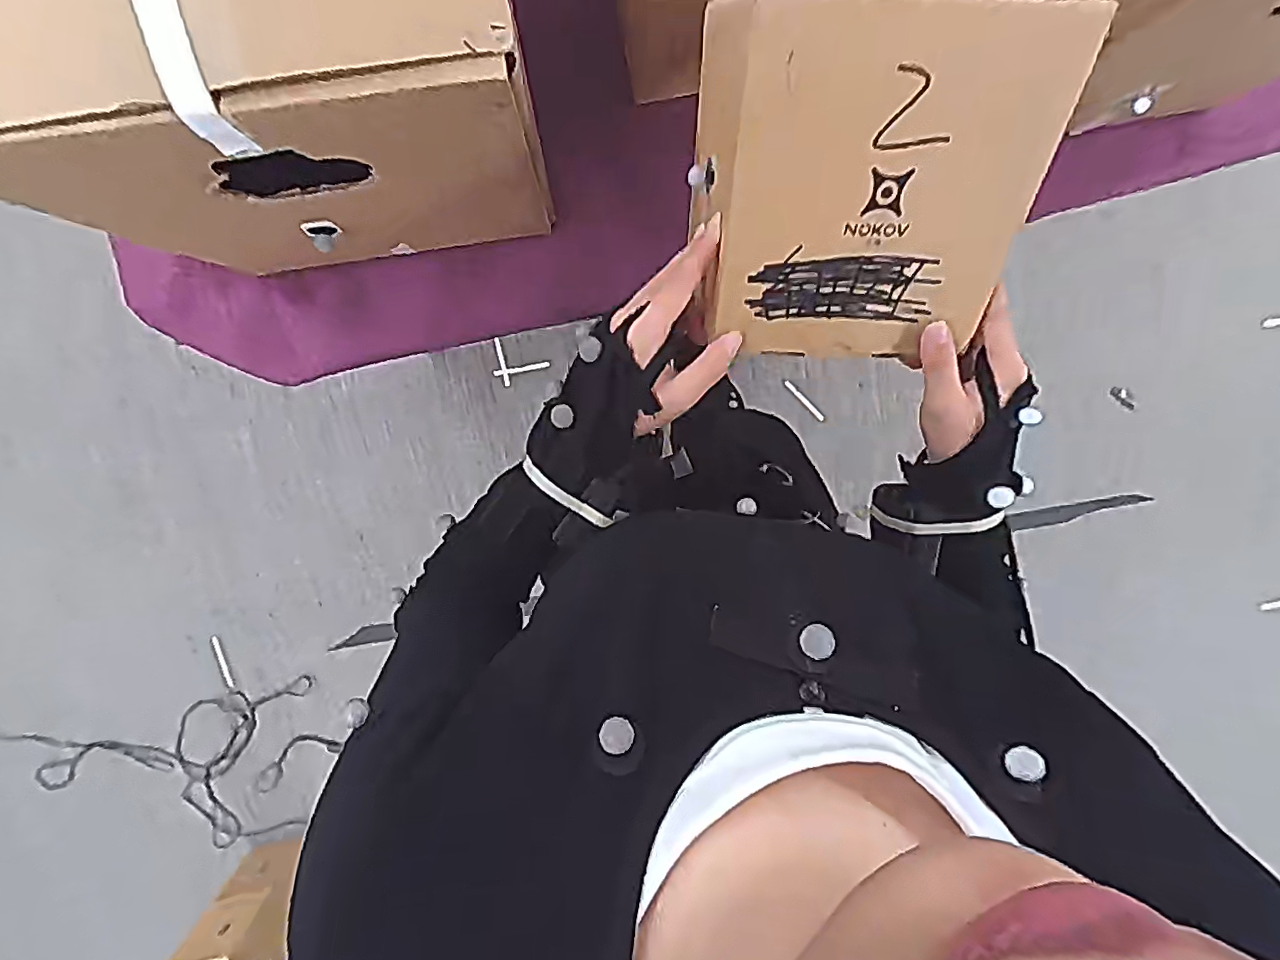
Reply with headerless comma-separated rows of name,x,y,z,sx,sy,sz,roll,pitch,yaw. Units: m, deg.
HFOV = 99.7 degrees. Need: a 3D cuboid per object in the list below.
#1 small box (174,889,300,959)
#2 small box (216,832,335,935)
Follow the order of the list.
small box,-0.961,1.125,1.292,0.168,0.176,0.179,-15,103,0
small box,-0.968,1.096,1.452,0.179,0.176,0.168,-17,103,0
